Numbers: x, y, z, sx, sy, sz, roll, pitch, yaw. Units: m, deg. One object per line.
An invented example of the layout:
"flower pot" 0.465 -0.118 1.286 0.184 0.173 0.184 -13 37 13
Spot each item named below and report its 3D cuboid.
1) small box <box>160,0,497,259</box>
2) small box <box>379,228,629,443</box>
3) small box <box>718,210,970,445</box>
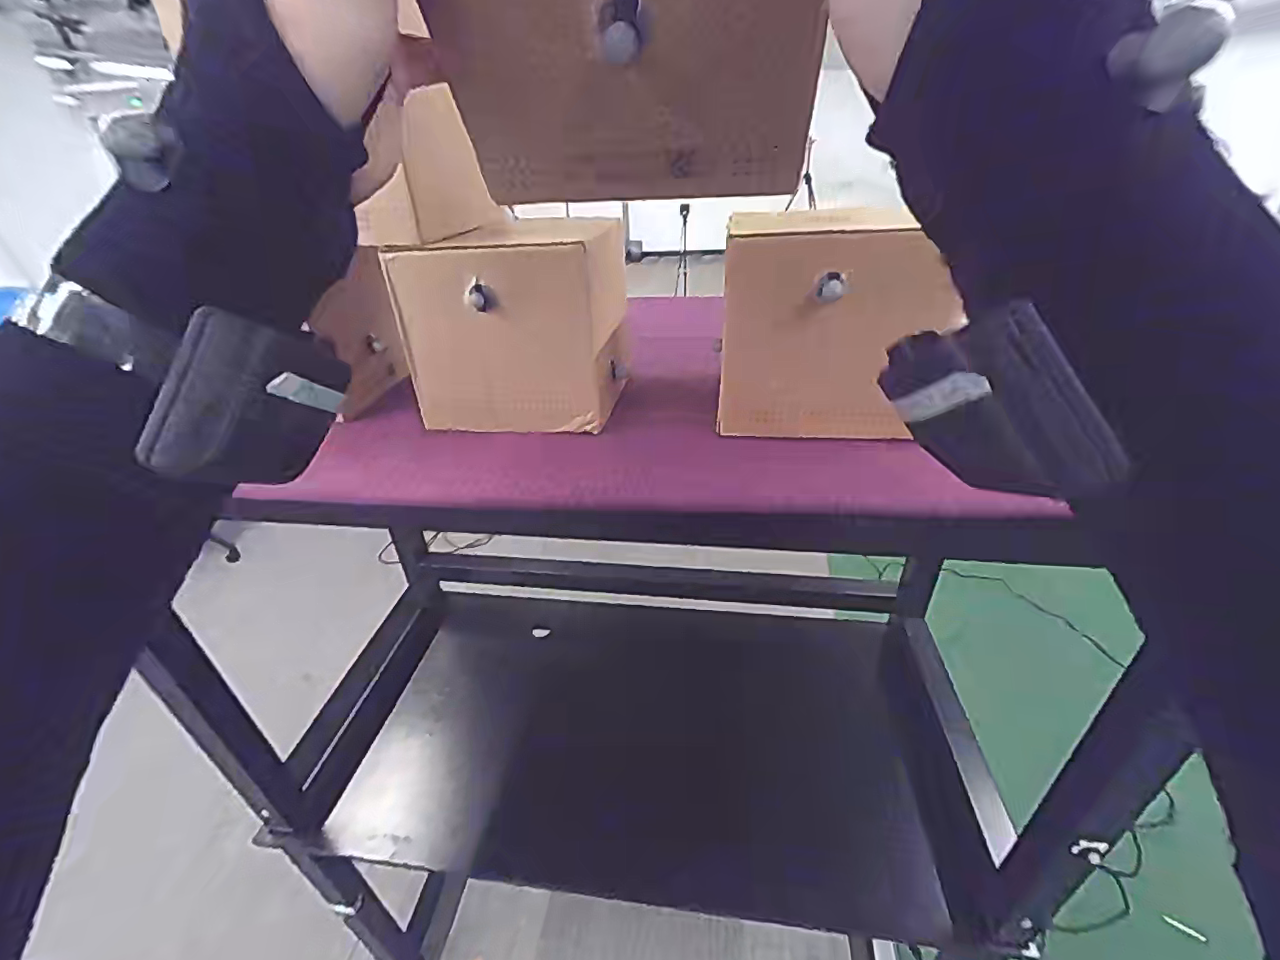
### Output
"small box" -0.243 -0.297 0.479 0.168 0.176 0.179 3 32 10
"small box" -0.113 -0.146 0.535 0.179 0.176 0.168 2 32 9
"small box" 0.163 -0.140 0.495 0.179 0.176 0.168 0 31 10
